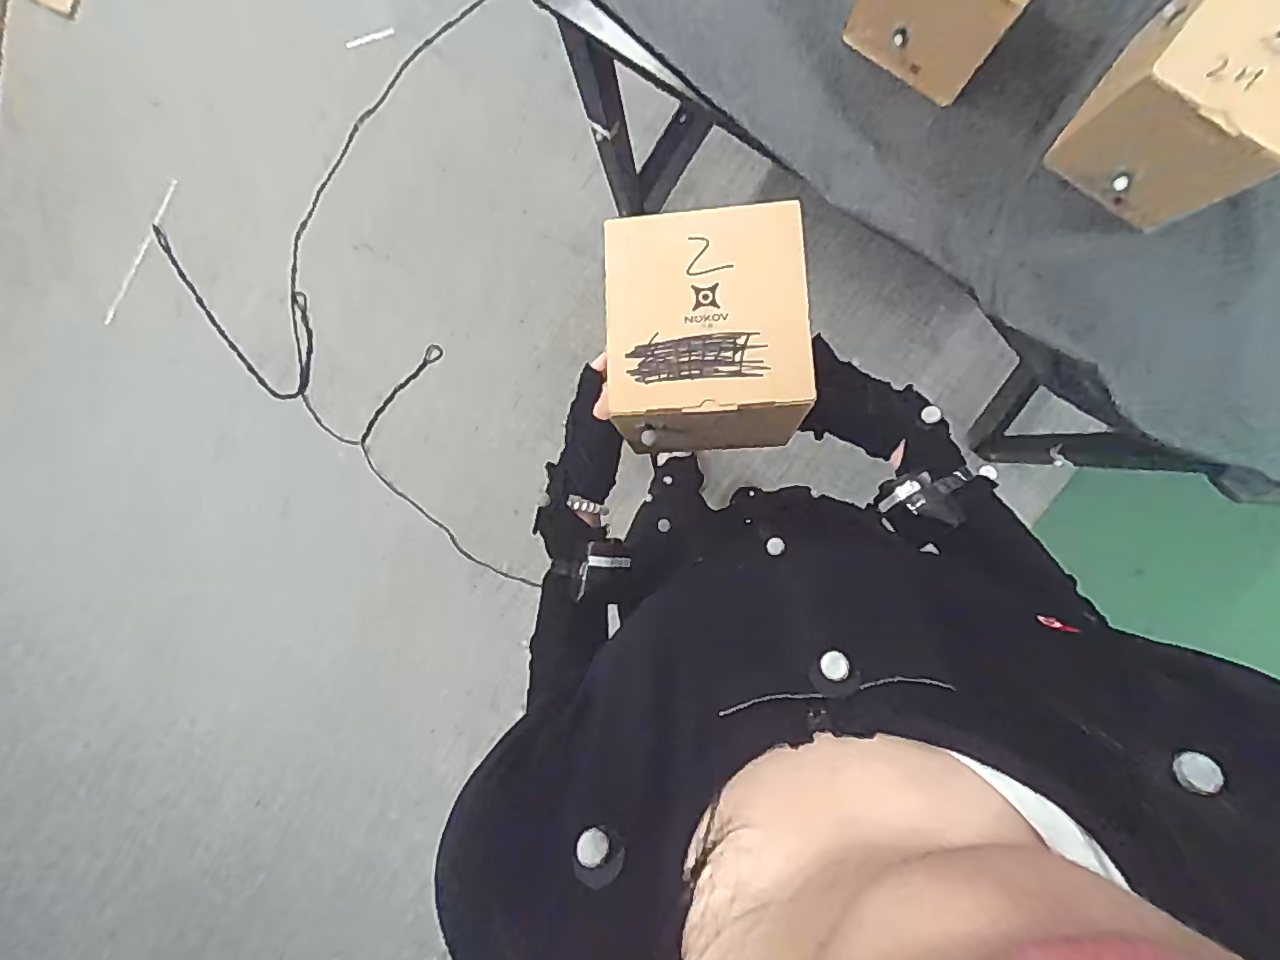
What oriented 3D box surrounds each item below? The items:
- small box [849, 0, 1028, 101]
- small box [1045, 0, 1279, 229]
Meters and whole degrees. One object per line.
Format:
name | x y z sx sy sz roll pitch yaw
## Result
small box | 0.368 -0.592 0.611 0.168 0.176 0.179 35 96 1
small box | 0.614 -0.425 0.602 0.168 0.176 0.179 35 96 2
